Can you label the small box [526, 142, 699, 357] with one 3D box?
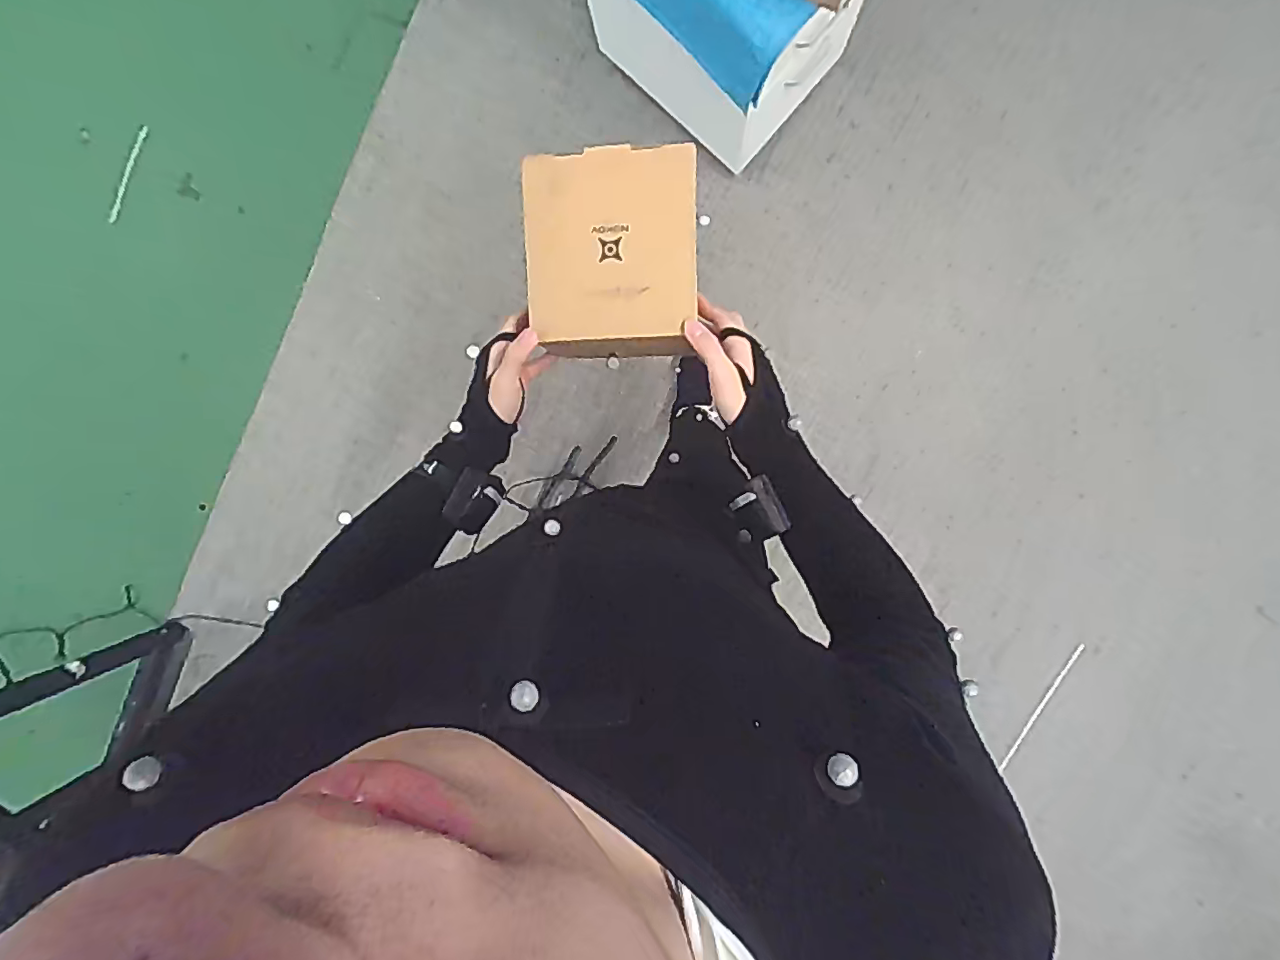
[{"bbox_3d":[-0.021,-0.234,0.591,0.168,0.176,0.179,0,96,5],"label":"small box"}]
